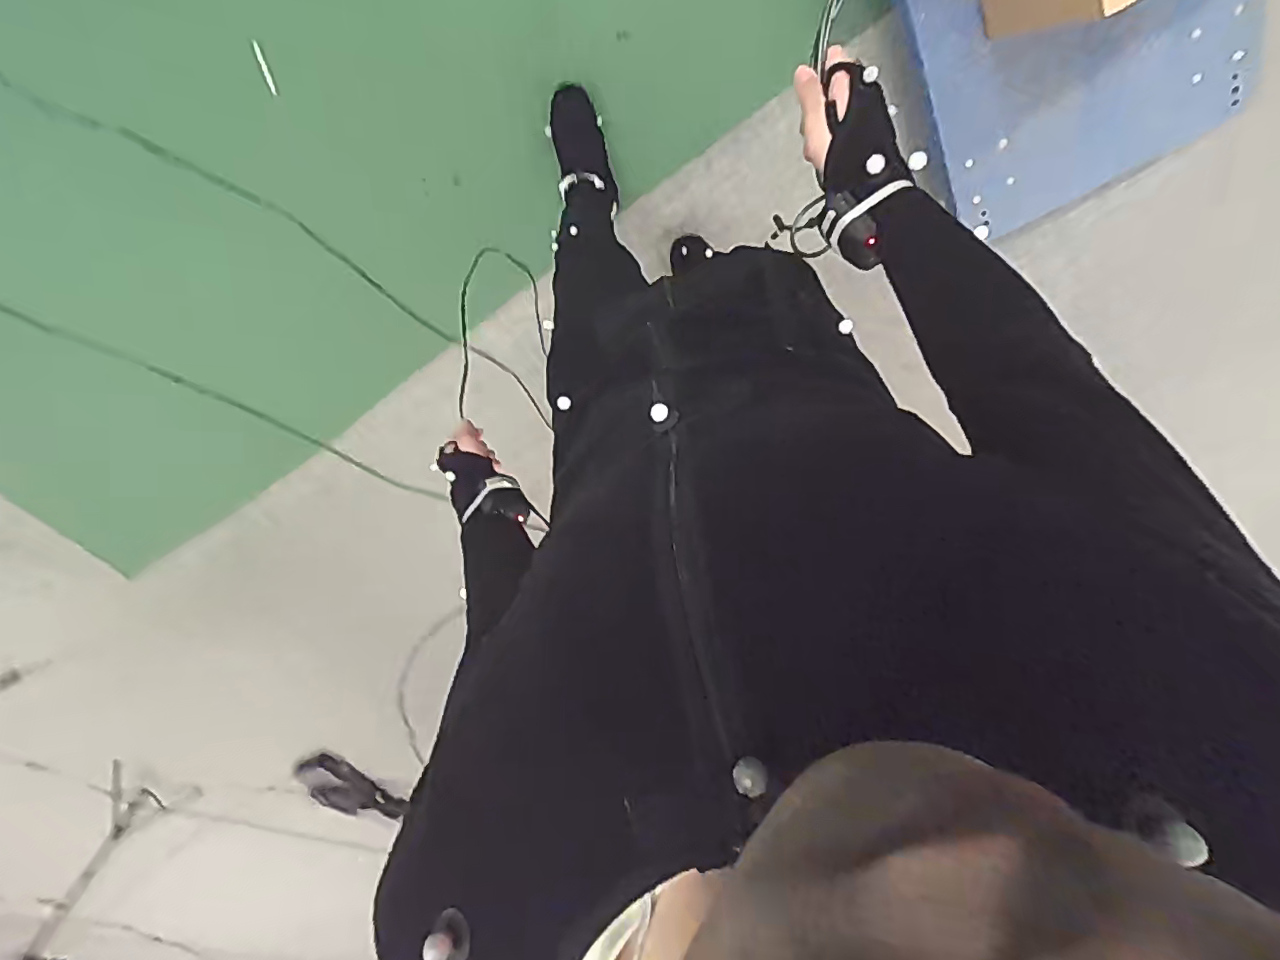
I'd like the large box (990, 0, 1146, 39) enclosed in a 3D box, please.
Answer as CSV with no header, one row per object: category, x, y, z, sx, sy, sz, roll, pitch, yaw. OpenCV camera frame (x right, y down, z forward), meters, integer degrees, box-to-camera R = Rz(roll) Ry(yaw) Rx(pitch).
large box,0.705,-0.953,0.764,0.320,0.320,0.408,-26,121,17
